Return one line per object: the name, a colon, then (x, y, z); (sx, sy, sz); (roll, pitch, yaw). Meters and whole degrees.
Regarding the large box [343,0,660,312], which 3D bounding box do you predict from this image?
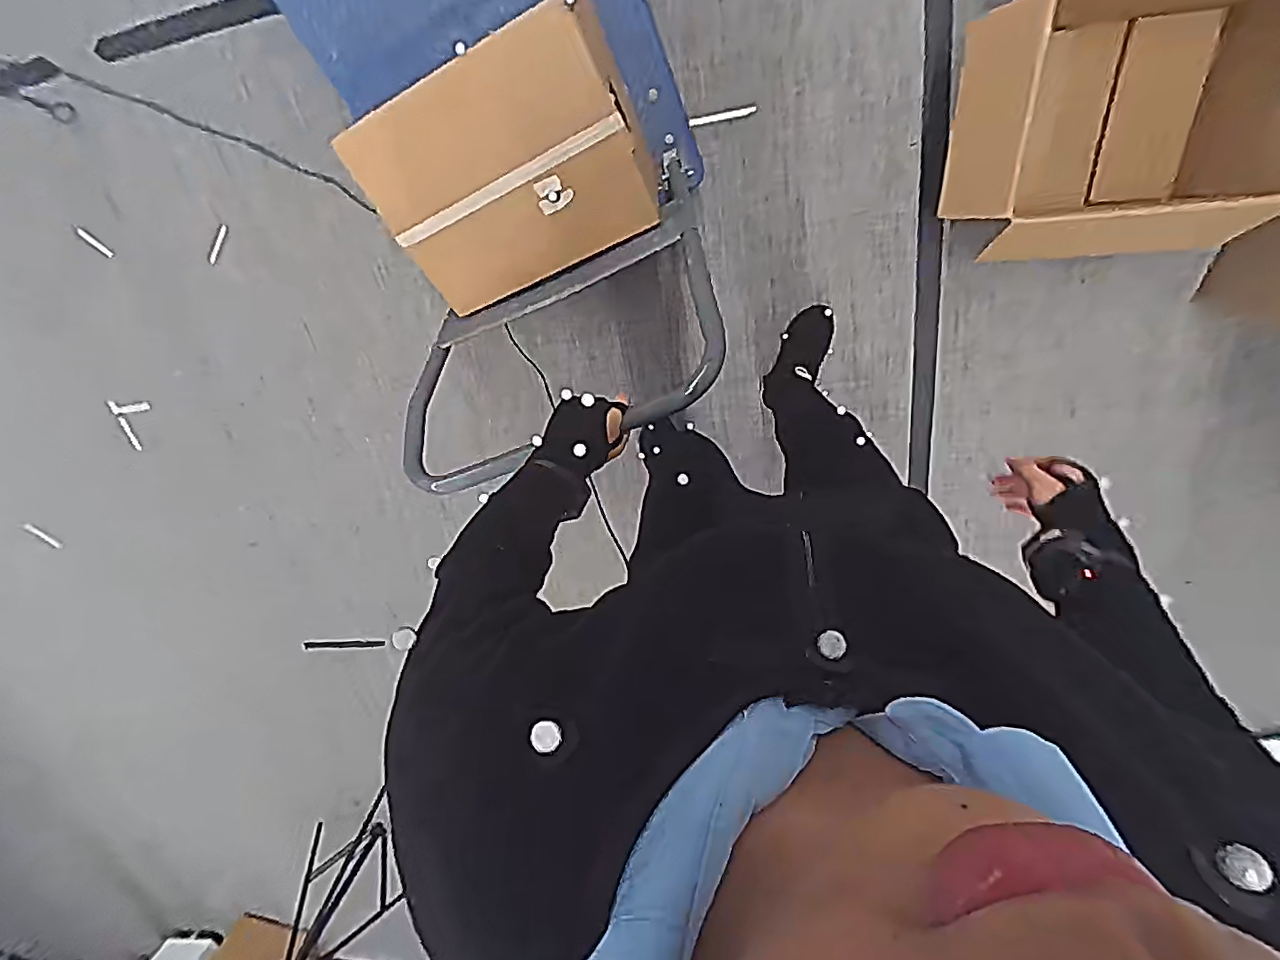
large box: (-0.209, -0.568, 0.952); (0.408, 0.320, 0.320); (-18, 131, 16)
